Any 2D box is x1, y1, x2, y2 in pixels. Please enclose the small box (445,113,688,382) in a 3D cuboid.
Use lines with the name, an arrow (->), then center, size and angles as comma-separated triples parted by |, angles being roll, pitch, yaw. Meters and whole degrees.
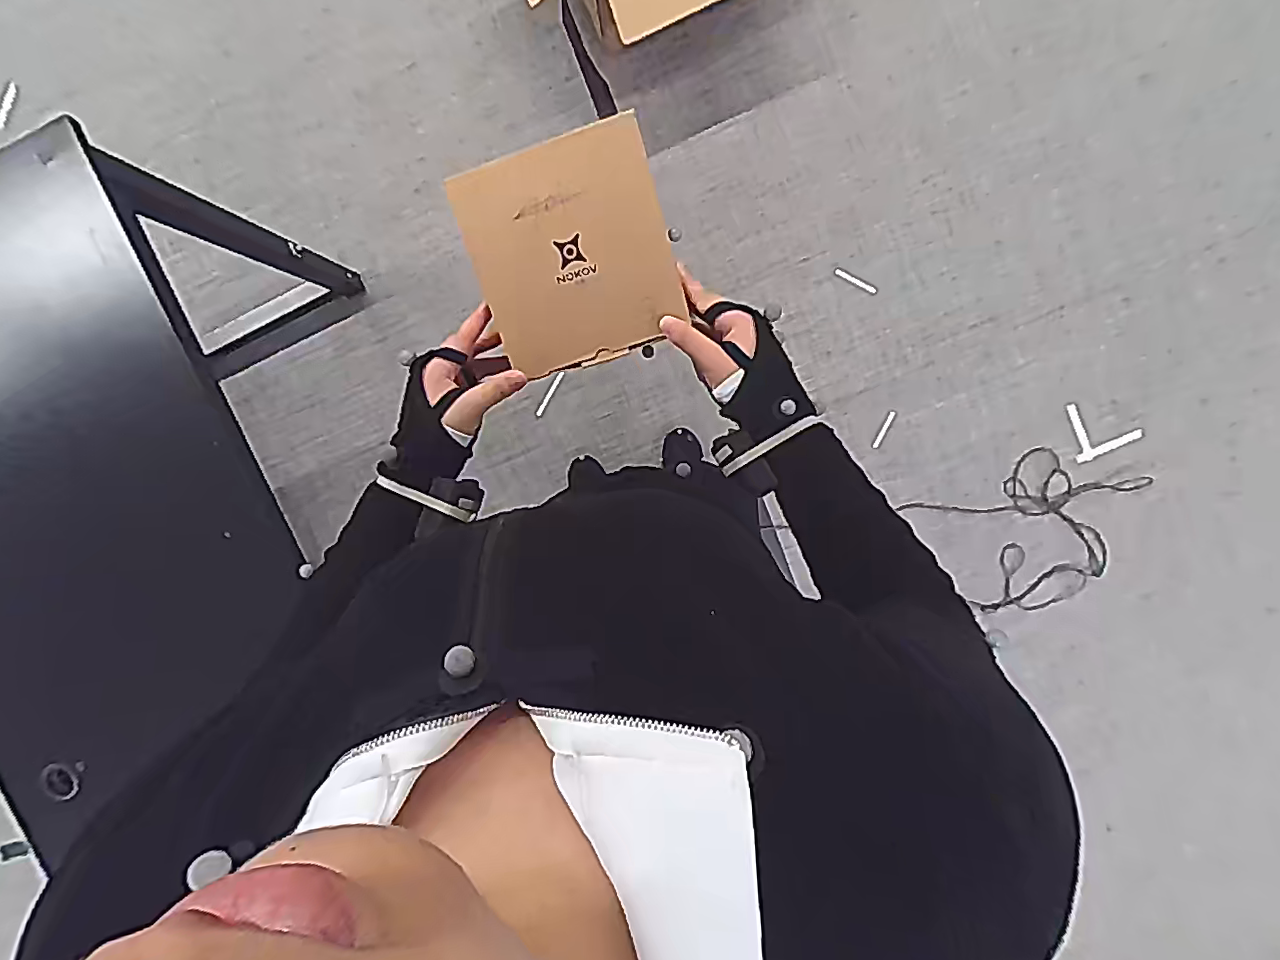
small box -> -0.056, -0.211, 0.531 | 0.168, 0.176, 0.179 | -16, 104, 6
